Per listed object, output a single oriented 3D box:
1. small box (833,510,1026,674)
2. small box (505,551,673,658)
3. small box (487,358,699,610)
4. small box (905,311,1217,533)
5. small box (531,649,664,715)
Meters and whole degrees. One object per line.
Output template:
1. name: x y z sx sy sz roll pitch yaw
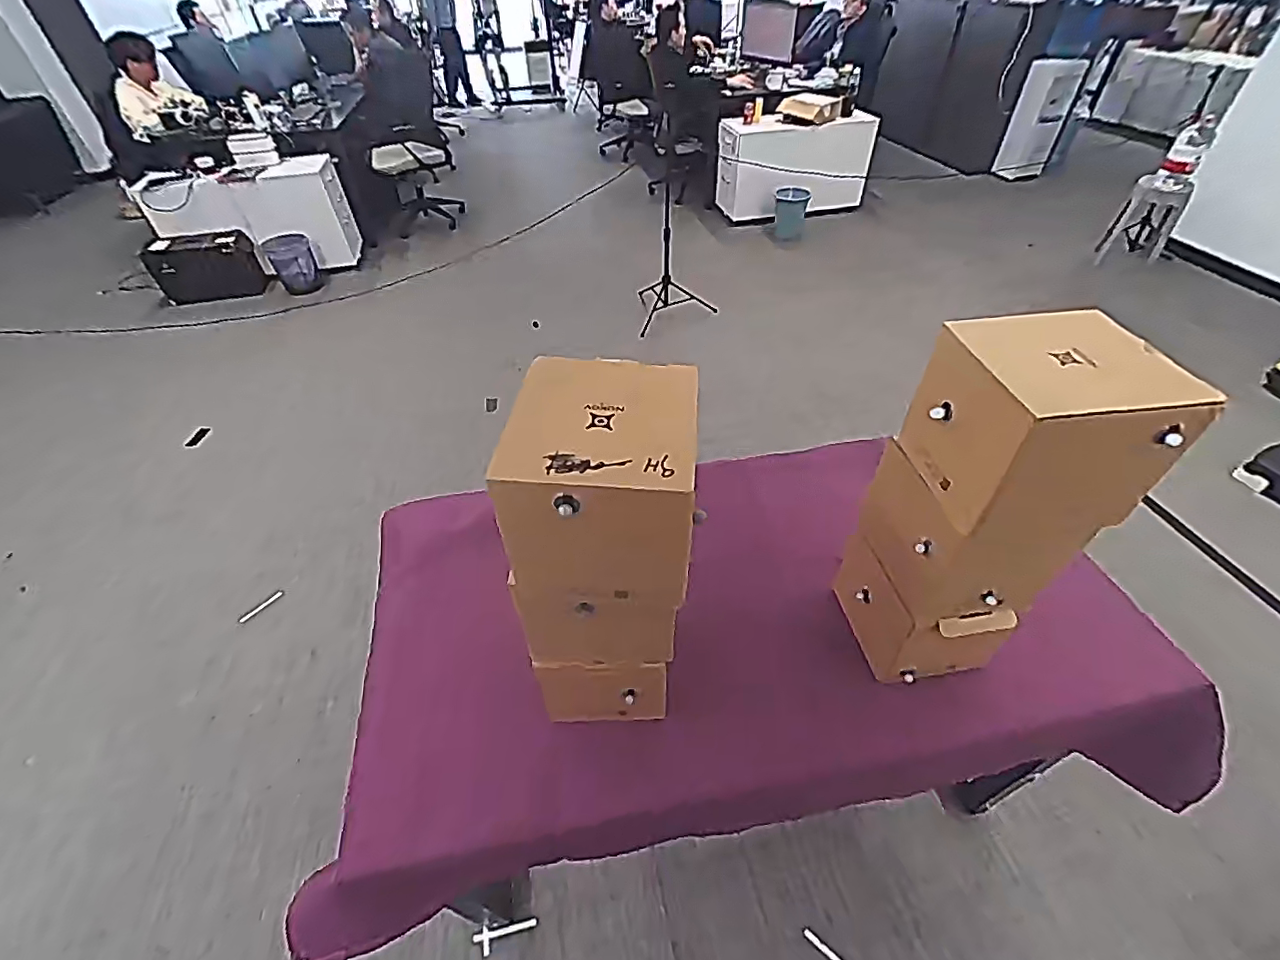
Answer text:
1. small box: 0.410 0.170 0.804 0.168 0.176 0.179 -7 44 -5
2. small box: -0.049 0.105 0.660 0.179 0.176 0.168 0 46 1
3. small box: -0.032 0.002 0.531 0.168 0.176 0.179 3 45 4
4. small box: 0.407 -0.058 0.571 0.179 0.176 0.168 -5 45 -3
5. small box: -0.050 0.222 0.774 0.168 0.176 0.179 -1 45 0
